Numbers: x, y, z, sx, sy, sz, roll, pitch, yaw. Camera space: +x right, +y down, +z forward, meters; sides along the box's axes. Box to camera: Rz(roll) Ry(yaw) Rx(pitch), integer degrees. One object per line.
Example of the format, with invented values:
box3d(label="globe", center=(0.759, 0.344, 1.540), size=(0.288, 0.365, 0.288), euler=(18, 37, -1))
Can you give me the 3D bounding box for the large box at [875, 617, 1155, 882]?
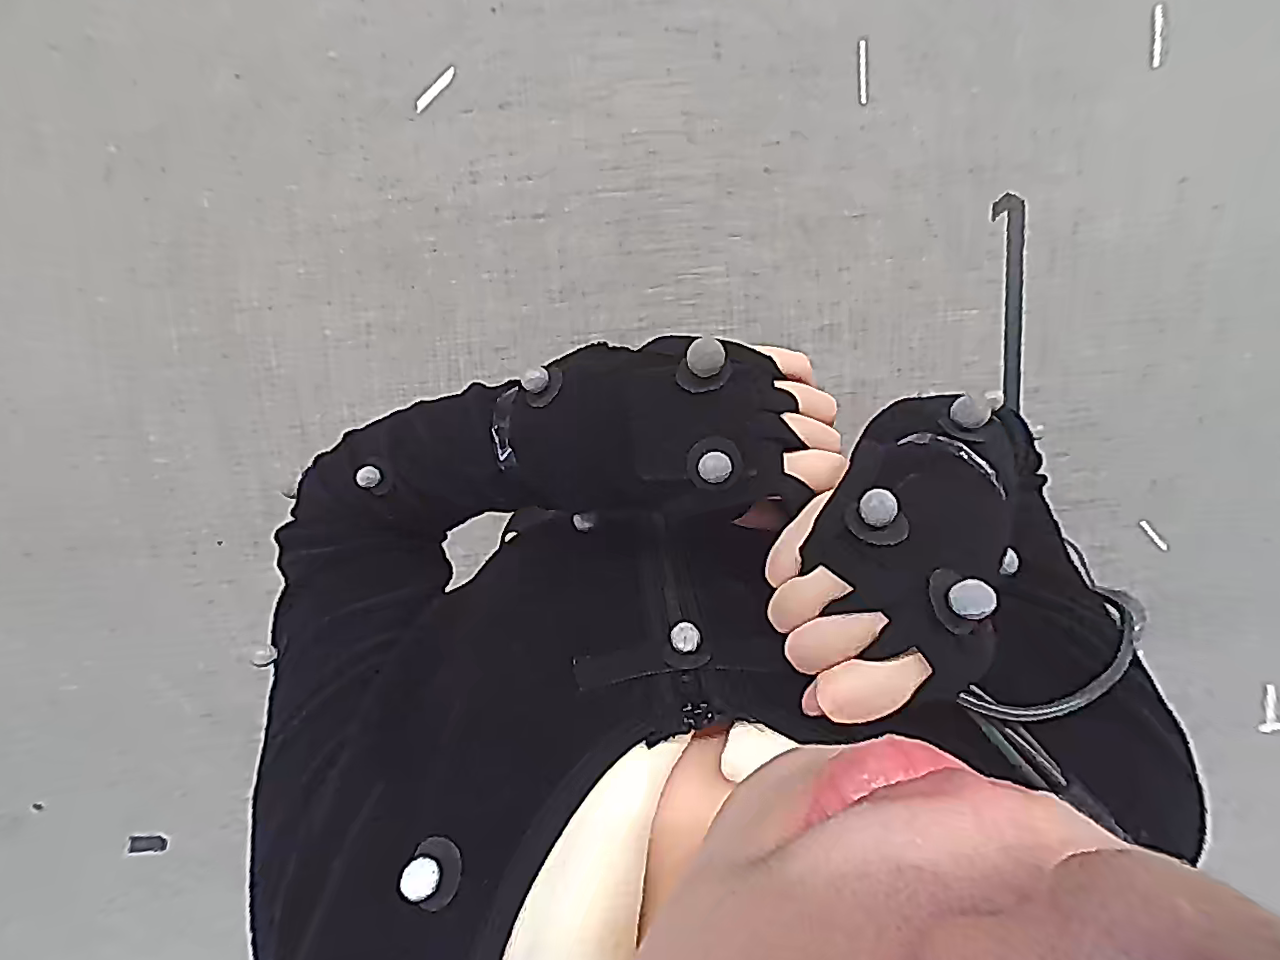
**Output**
box3d(label="large box", center=(0.850, 0.609, 1.282), size=(0.320, 0.320, 0.408), euler=(30, 95, -6))
